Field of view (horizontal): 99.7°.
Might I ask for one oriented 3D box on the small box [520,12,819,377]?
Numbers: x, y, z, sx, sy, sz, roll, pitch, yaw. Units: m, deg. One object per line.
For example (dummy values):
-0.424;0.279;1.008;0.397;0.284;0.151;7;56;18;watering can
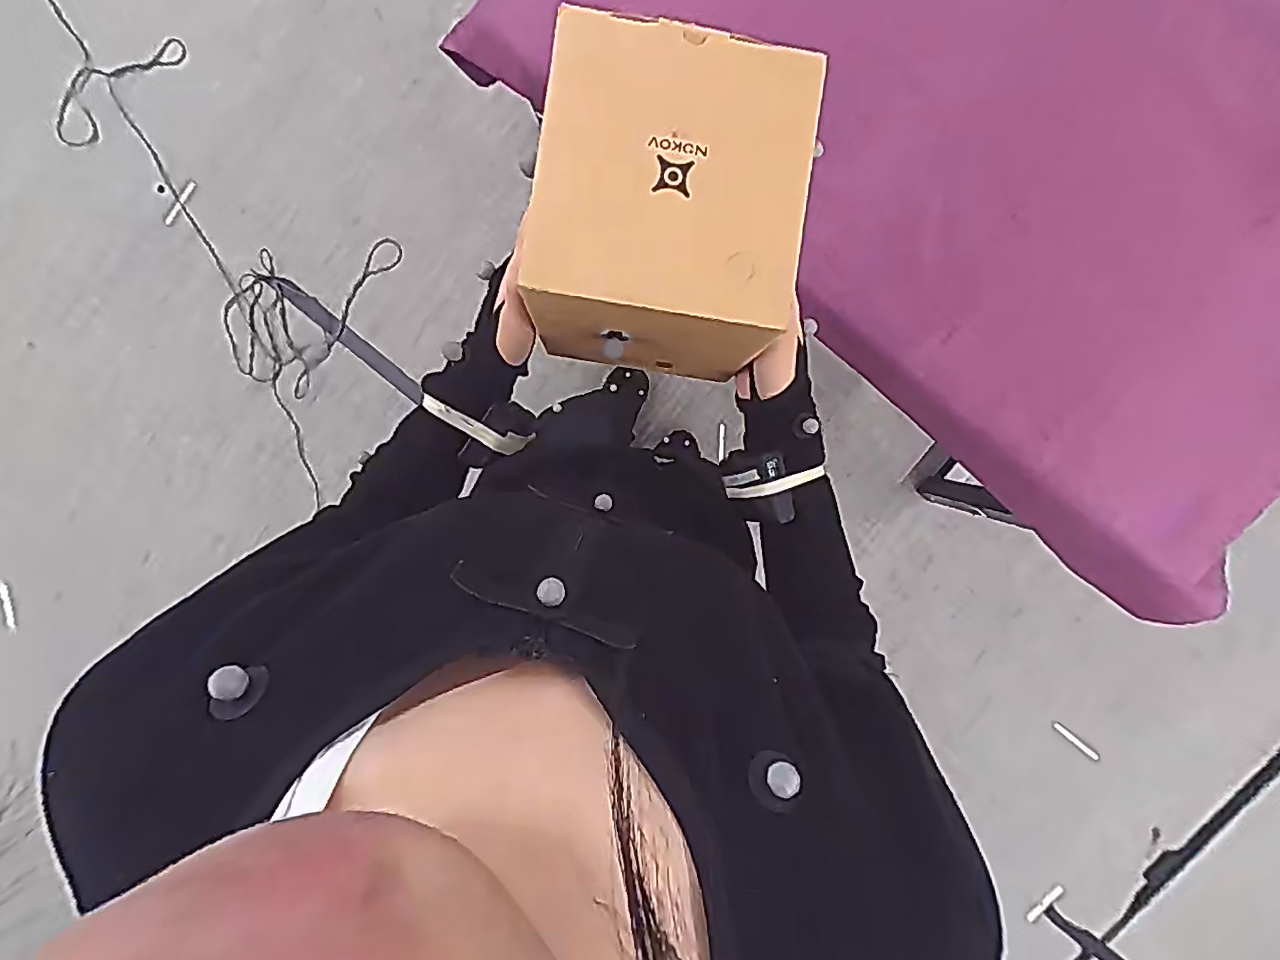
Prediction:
0.016;-0.187;0.411;0.168;0.176;0.179;8;88;-4;small box
